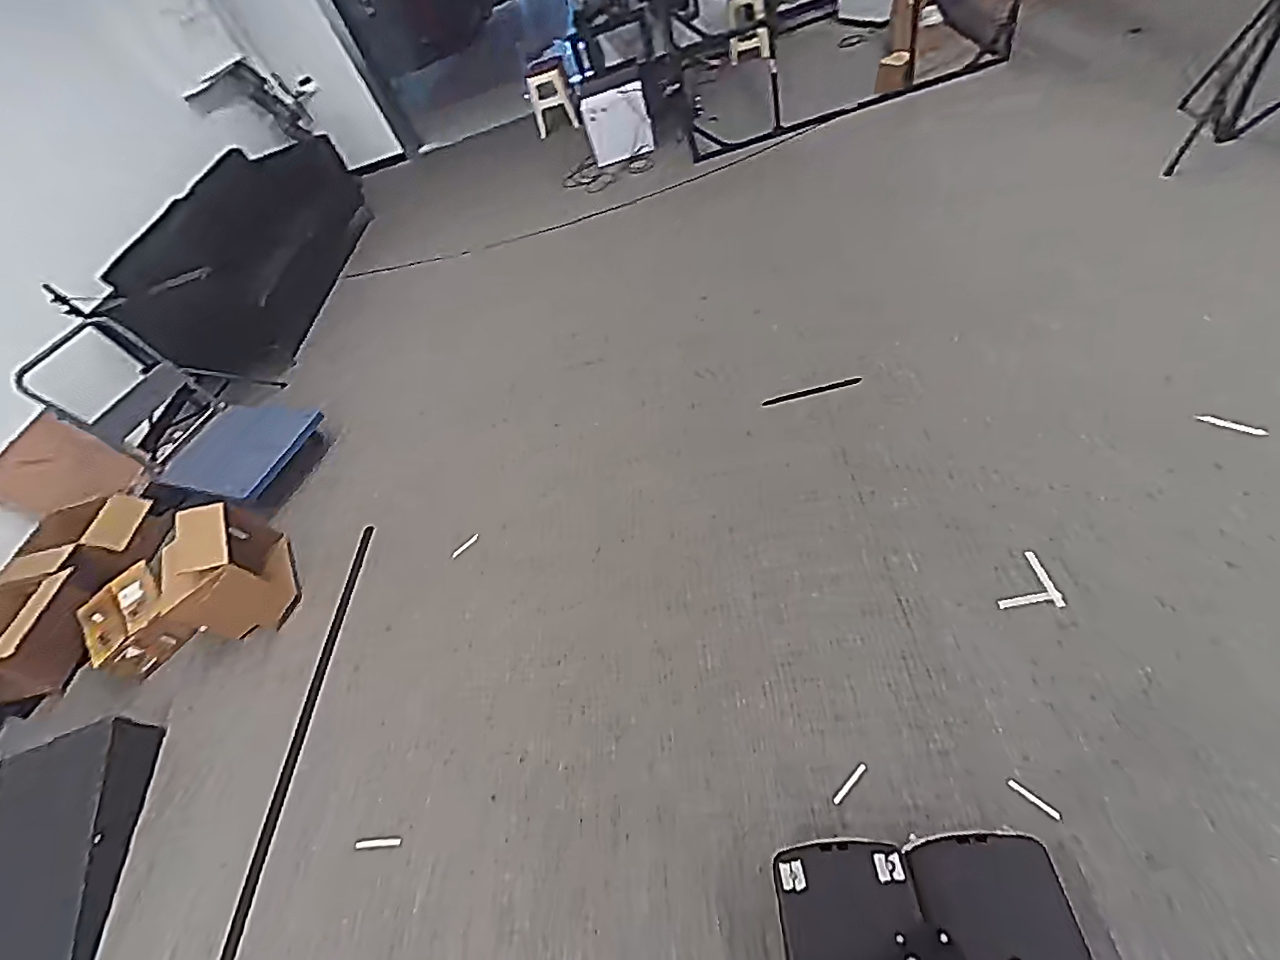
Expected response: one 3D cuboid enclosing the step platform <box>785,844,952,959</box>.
[{"bbox_3d":[0.480,1.087,1.000,0.286,0.204,0.684,-13,49,10],"label":"step platform"}]
